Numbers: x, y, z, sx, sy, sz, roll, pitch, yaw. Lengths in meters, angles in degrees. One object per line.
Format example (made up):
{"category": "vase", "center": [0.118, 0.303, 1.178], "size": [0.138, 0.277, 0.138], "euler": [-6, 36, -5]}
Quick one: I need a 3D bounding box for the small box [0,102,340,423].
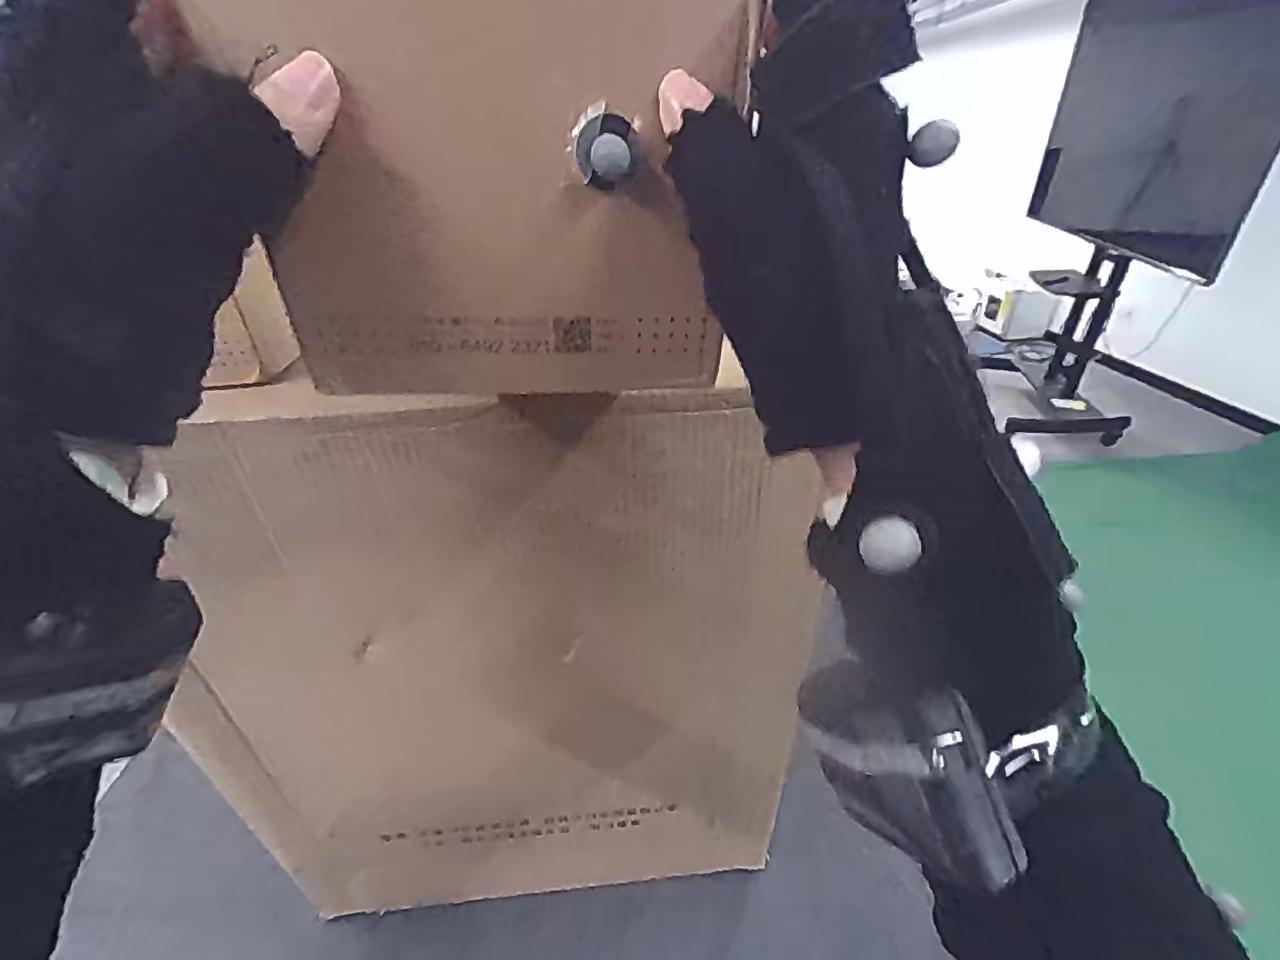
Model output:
{"category": "small box", "center": [-0.317, -0.147, 0.368], "size": [0.168, 0.176, 0.179], "euler": [-8, 34, -6]}

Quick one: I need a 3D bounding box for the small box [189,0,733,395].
{"category": "small box", "center": [-0.057, -0.150, 0.257], "size": [0.168, 0.176, 0.179], "euler": [-1, 36, -6]}
